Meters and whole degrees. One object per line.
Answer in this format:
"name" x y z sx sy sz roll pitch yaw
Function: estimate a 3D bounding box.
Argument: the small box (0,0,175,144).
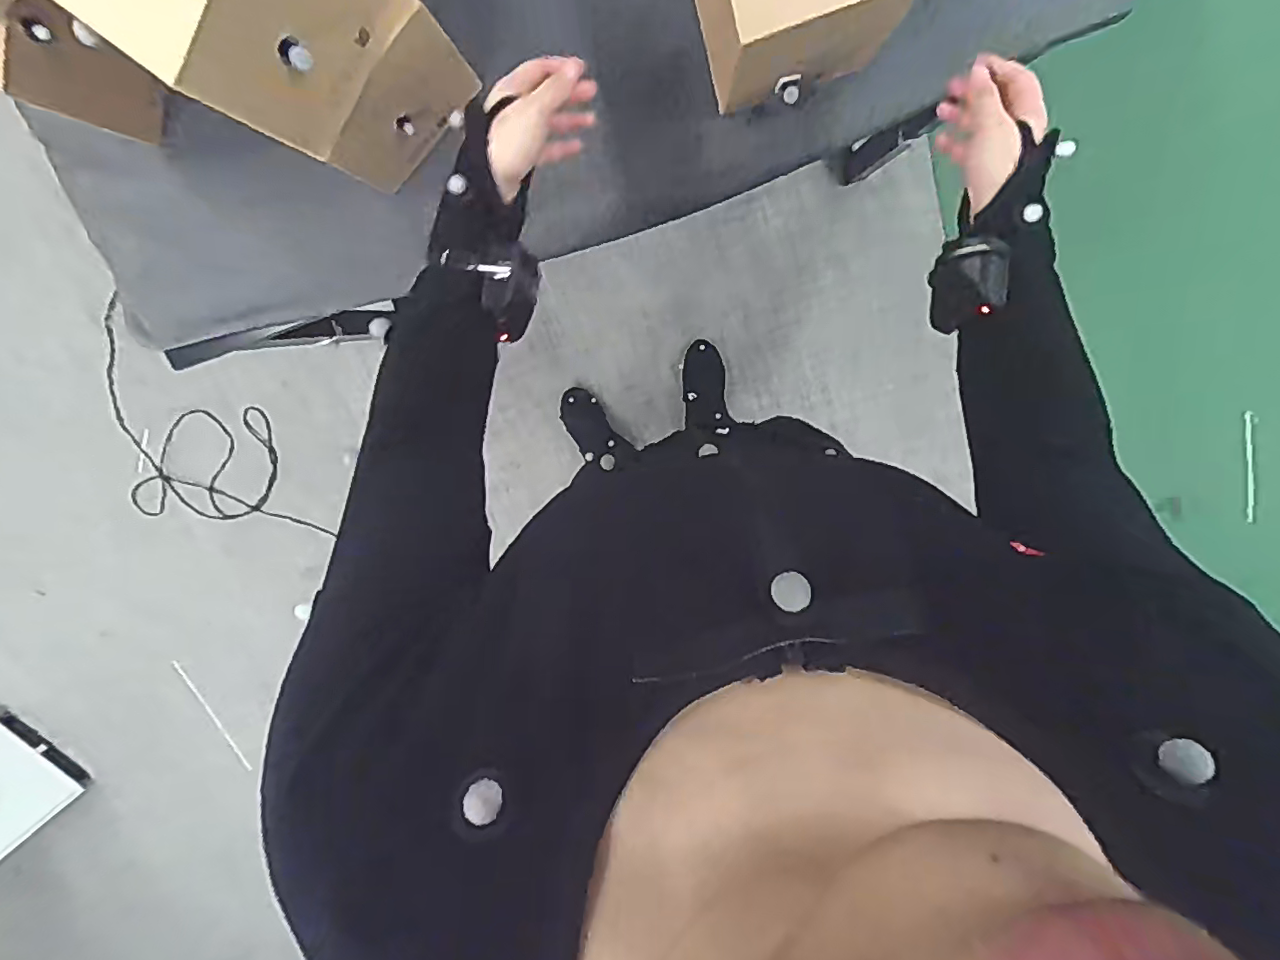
"small box" -0.621 -0.475 0.545 0.179 0.176 0.168 22 106 -4

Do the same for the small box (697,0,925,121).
"small box" 0.145 -0.483 0.506 0.168 0.176 0.179 -16 104 8

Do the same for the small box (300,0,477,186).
"small box" -0.296 -0.428 0.543 0.168 0.176 0.179 -42 100 12

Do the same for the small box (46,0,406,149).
"small box" -0.307 -0.376 0.389 0.179 0.176 0.168 36 105 -7
